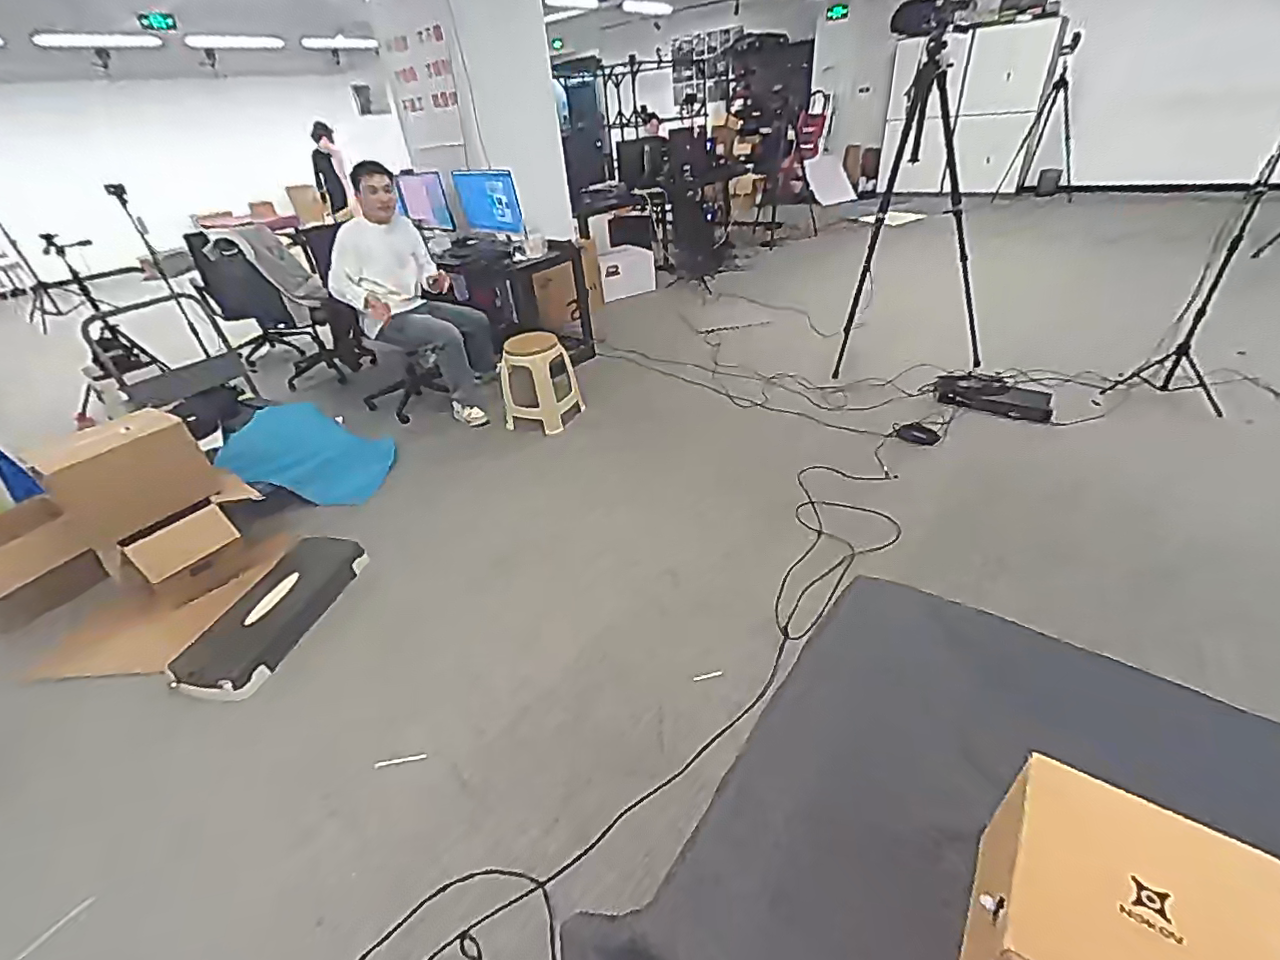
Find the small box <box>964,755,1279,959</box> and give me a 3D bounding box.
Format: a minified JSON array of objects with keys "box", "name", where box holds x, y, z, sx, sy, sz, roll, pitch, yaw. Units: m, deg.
[{"box":[0.387,0.382,0.446,0.168,0.176,0.179,18,41,31],"name":"small box"}]
